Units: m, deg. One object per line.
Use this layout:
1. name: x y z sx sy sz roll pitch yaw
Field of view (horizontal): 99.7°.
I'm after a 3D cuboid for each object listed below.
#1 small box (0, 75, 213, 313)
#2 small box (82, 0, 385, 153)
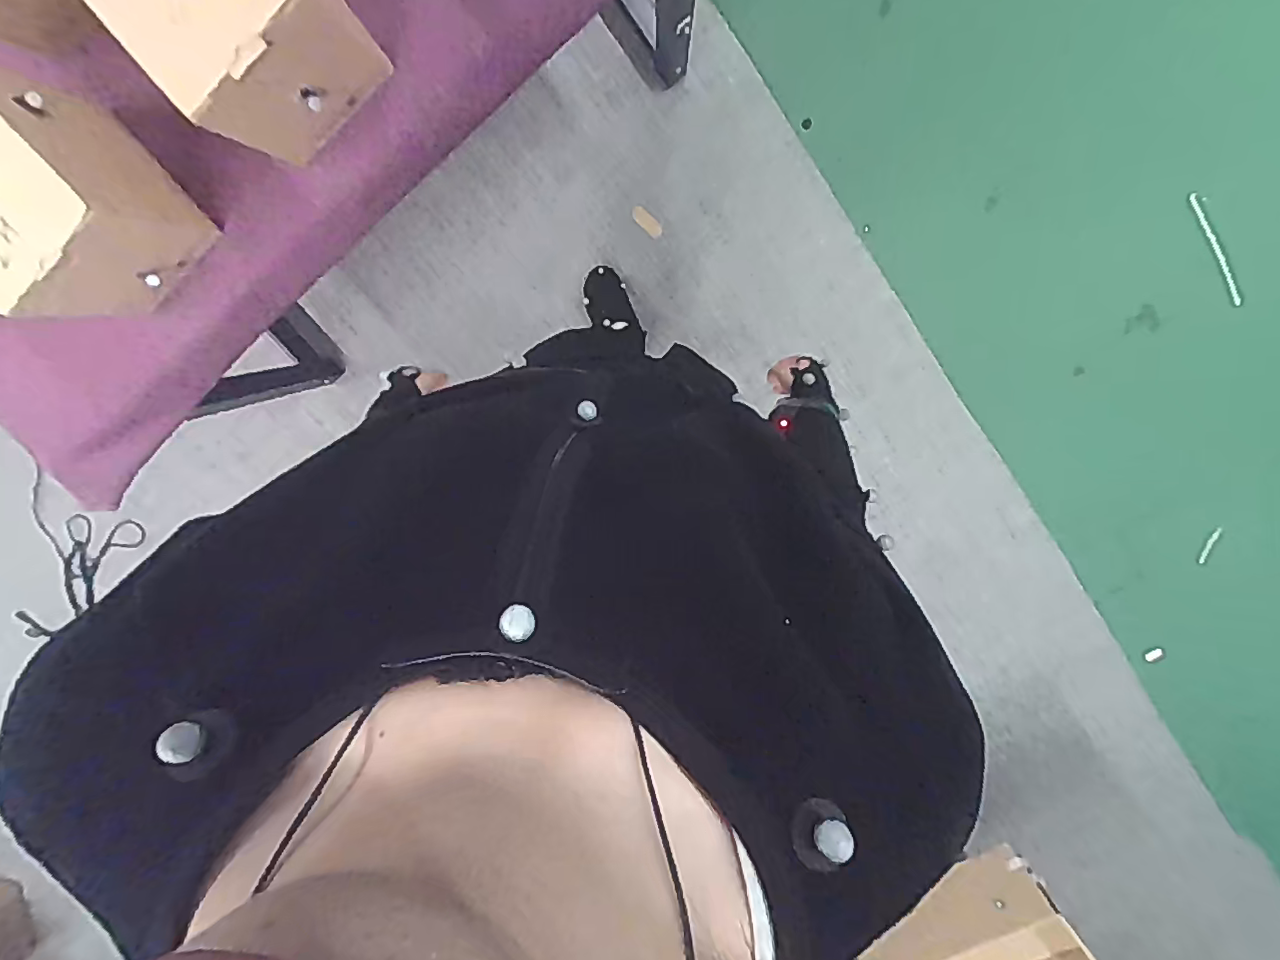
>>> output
1. small box: -0.644 -0.301 0.596 0.168 0.176 0.179 -36 103 12
2. small box: -0.399 -0.462 0.539 0.168 0.176 0.179 -36 103 11
